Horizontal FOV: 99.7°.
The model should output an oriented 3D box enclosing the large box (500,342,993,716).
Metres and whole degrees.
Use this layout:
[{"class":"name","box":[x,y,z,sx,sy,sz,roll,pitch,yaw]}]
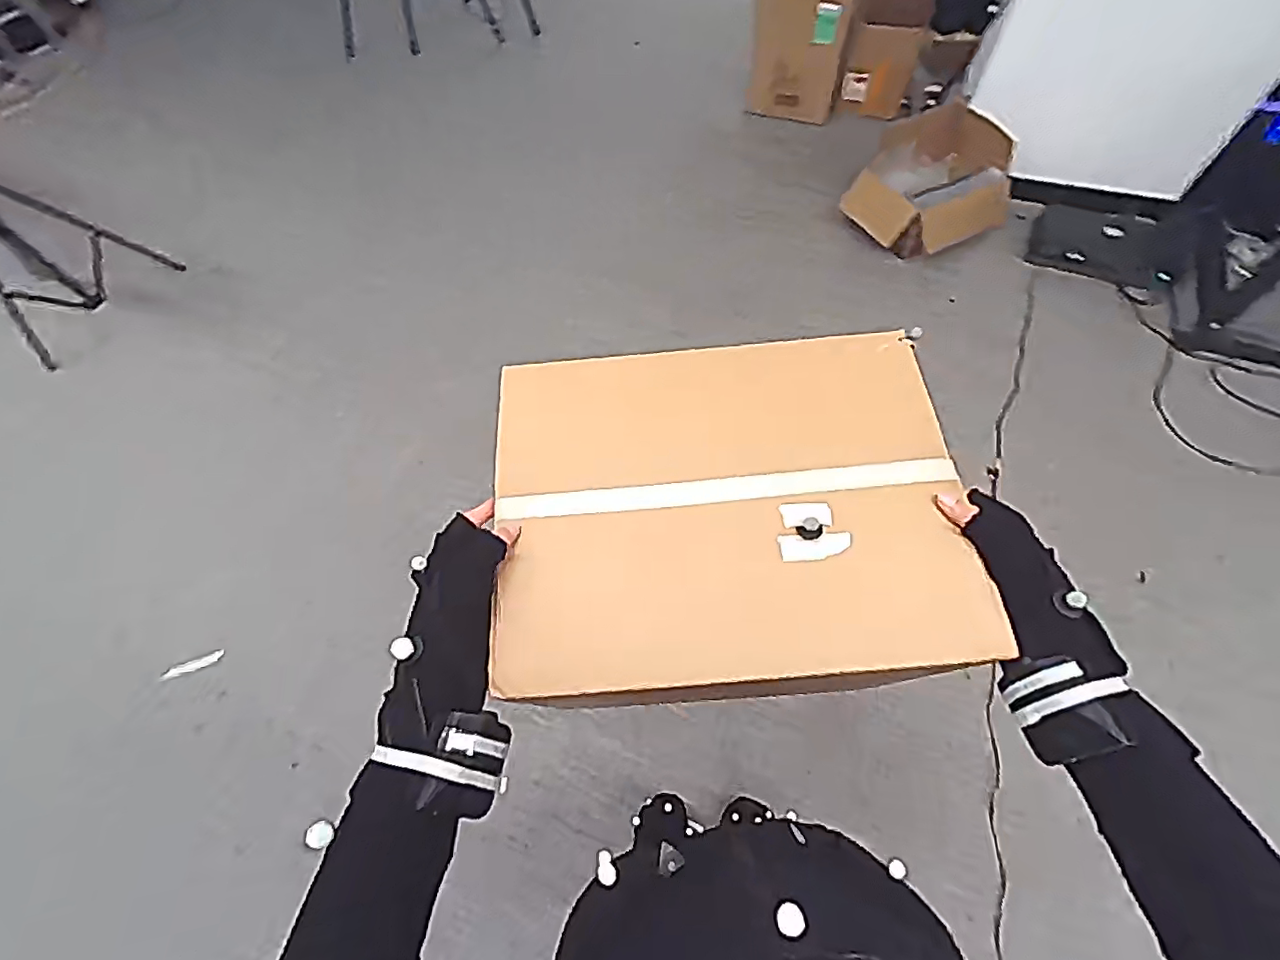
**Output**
[{"class":"large box","box":[0.077,0.081,0.625,0.408,0.320,0.320,-6,65,1]}]
